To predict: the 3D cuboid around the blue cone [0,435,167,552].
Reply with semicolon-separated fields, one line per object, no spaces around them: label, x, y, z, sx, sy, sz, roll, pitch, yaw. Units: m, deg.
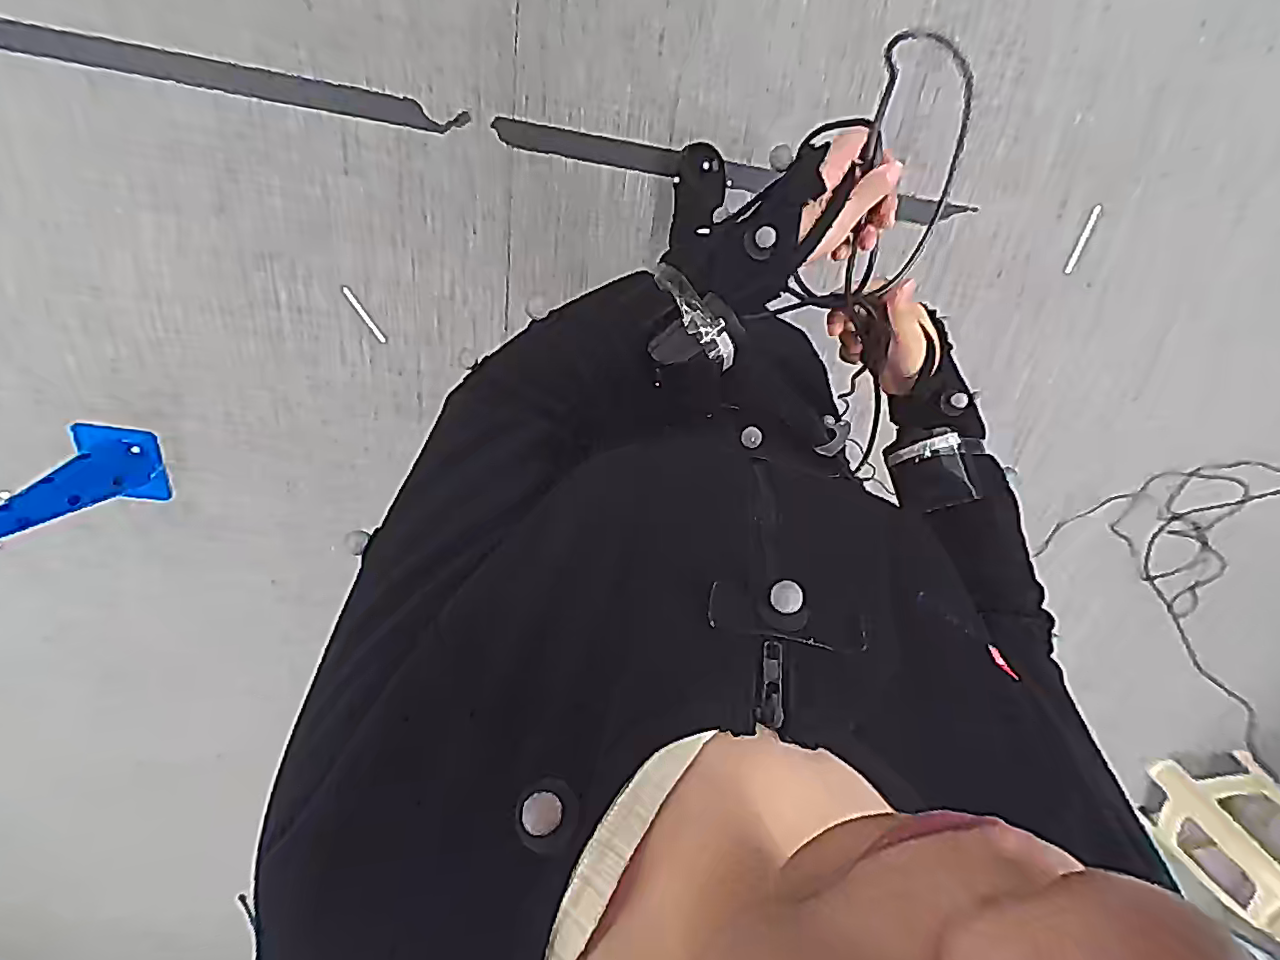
blue cone;-1.317;0.053;1.229;0.193;0.380;0.192;8;116;-5
